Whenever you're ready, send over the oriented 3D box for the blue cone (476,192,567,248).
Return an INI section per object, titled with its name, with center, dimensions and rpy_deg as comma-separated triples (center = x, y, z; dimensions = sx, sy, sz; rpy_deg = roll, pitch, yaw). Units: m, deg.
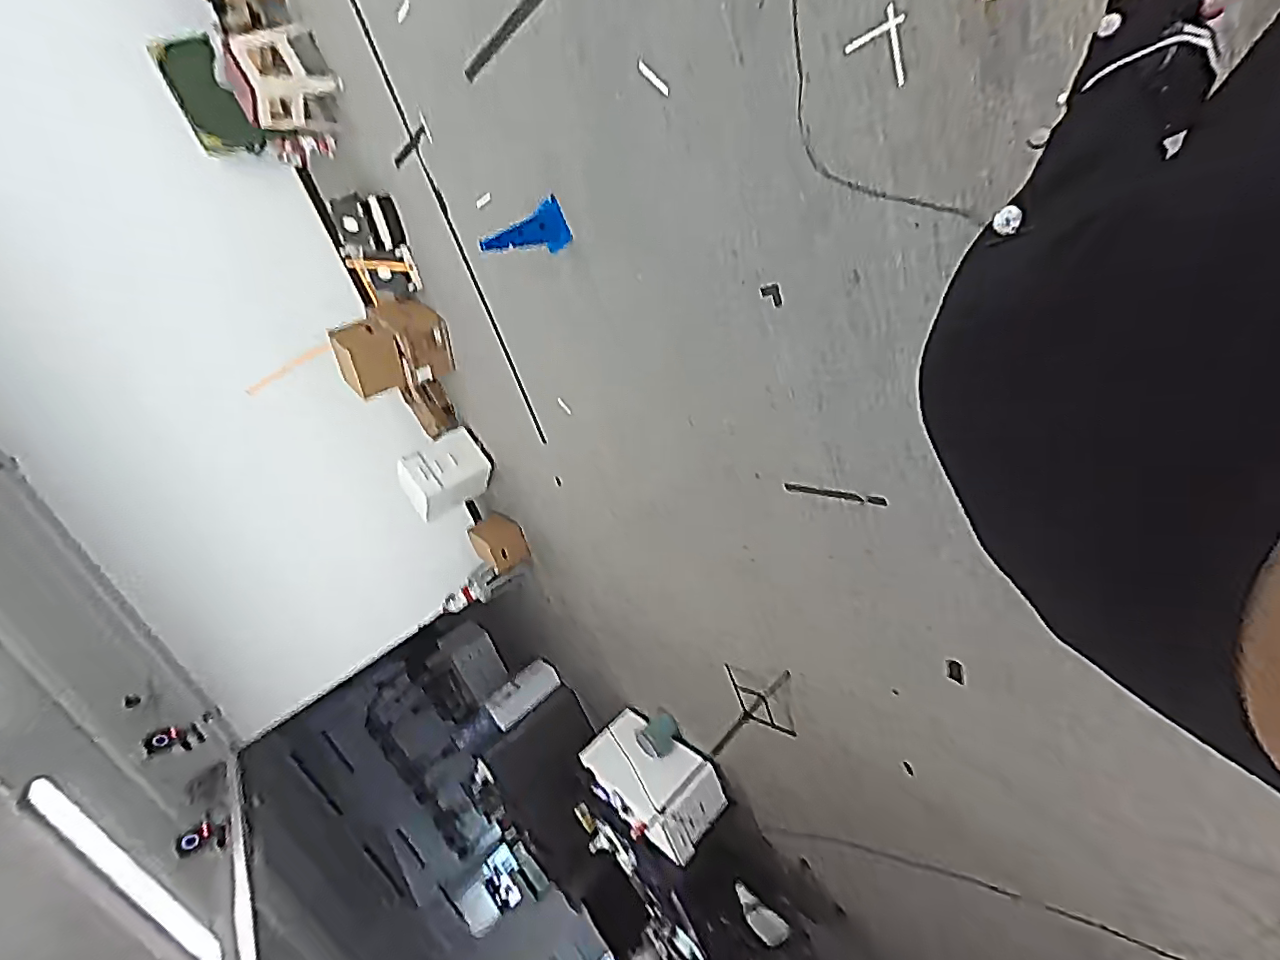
[blue cone]
center = -0.508, -1.037, 2.245
dimensions = 0.193, 0.380, 0.192
rpy_deg = 2, 120, 53
